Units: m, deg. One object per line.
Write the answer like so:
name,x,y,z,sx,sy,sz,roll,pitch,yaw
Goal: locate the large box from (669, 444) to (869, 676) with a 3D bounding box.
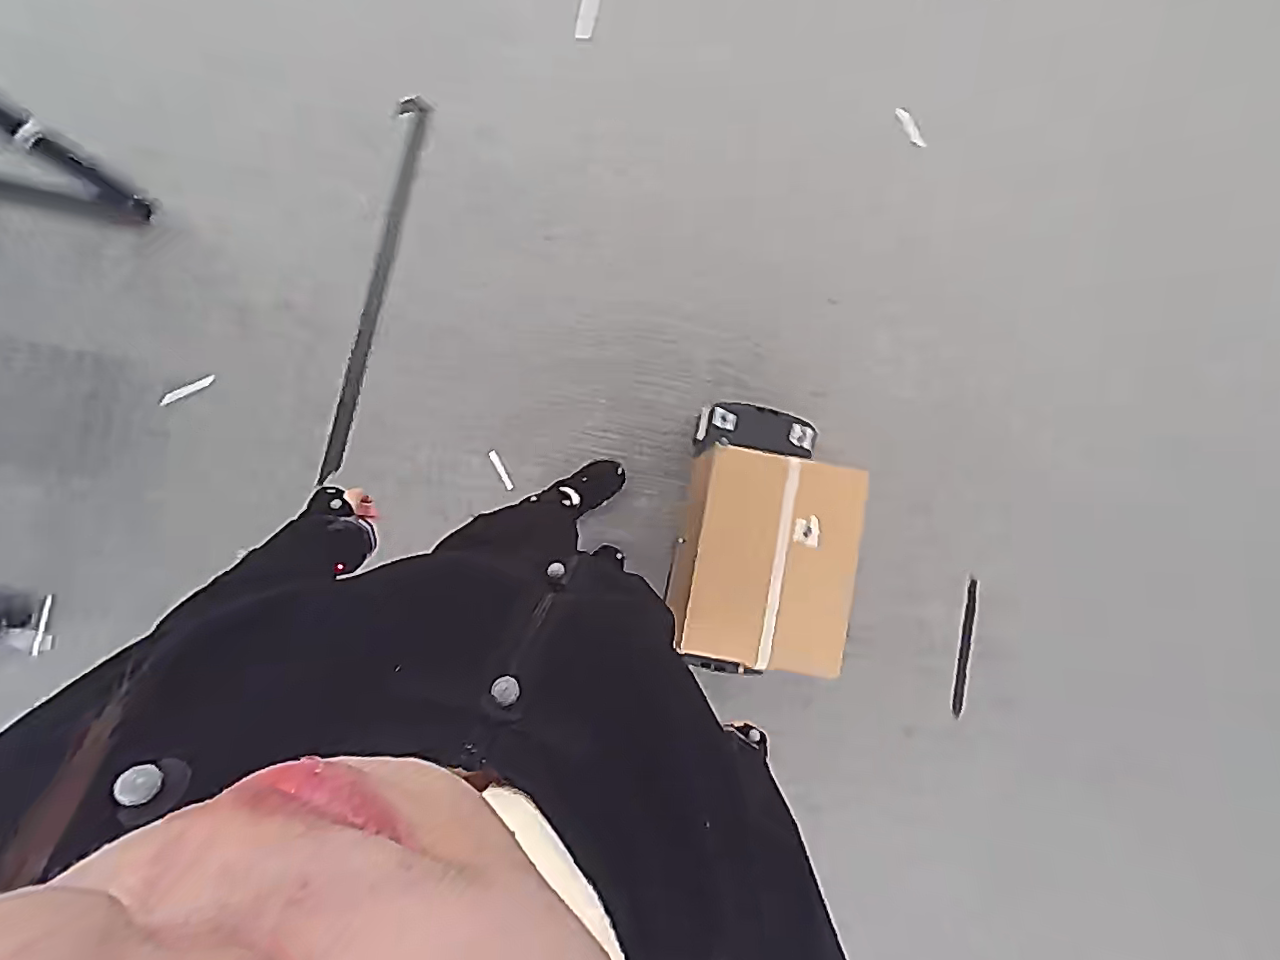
large box,0.255,0.164,1.174,0.320,0.320,0.408,11,85,-3
